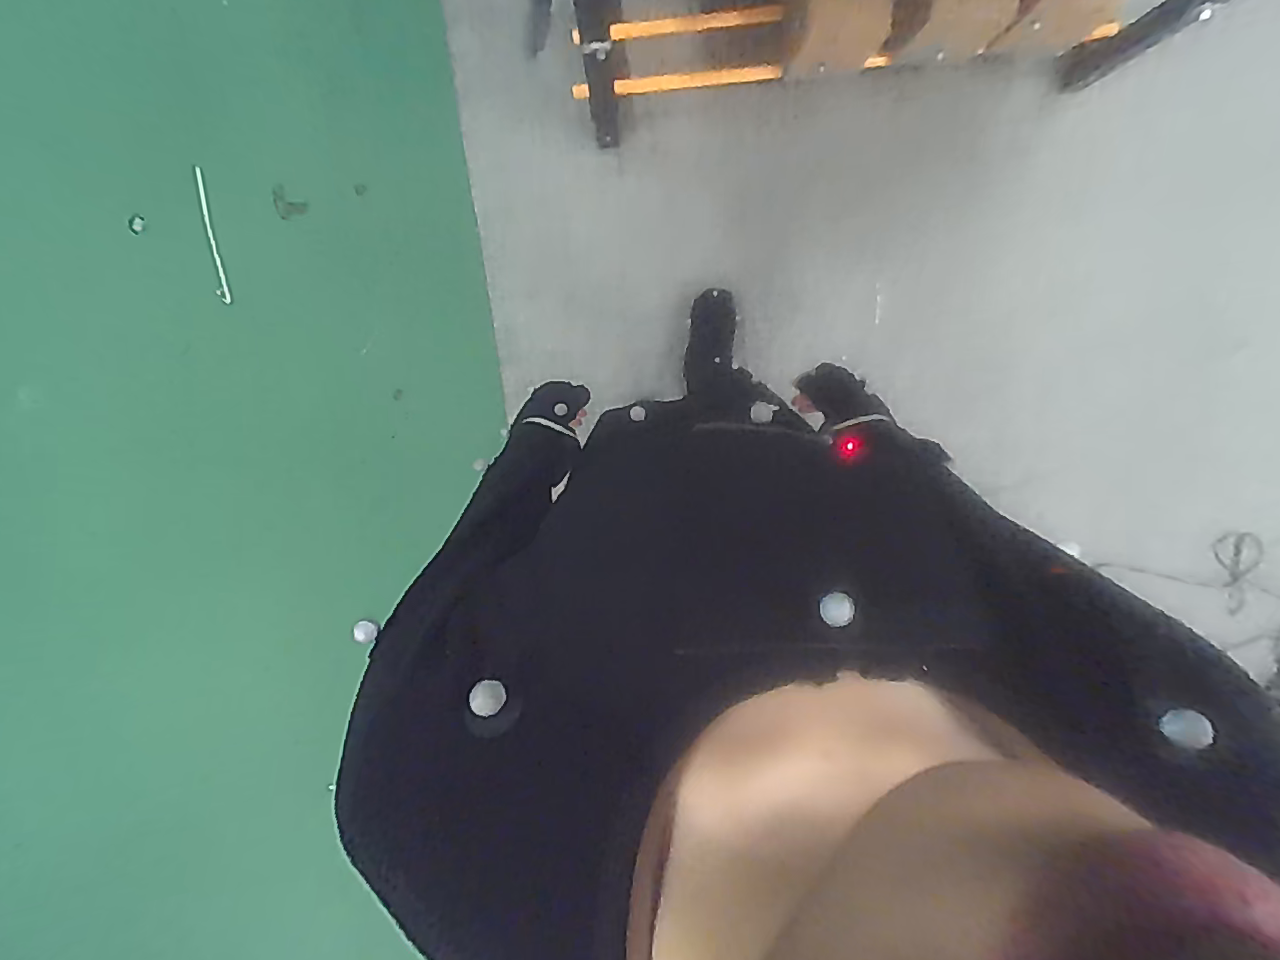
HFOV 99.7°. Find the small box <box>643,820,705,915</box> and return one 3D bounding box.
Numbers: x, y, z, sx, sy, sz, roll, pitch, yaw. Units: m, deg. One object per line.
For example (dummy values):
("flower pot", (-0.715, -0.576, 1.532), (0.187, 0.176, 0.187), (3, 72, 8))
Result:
("small box", (0.101, 1.176, 1.657), (0.168, 0.176, 0.179), (-7, 102, 2))

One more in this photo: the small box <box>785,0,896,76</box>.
("small box", (0.395, -0.954, 1.084), (0.168, 0.176, 0.179), (-4, 105, 0))
